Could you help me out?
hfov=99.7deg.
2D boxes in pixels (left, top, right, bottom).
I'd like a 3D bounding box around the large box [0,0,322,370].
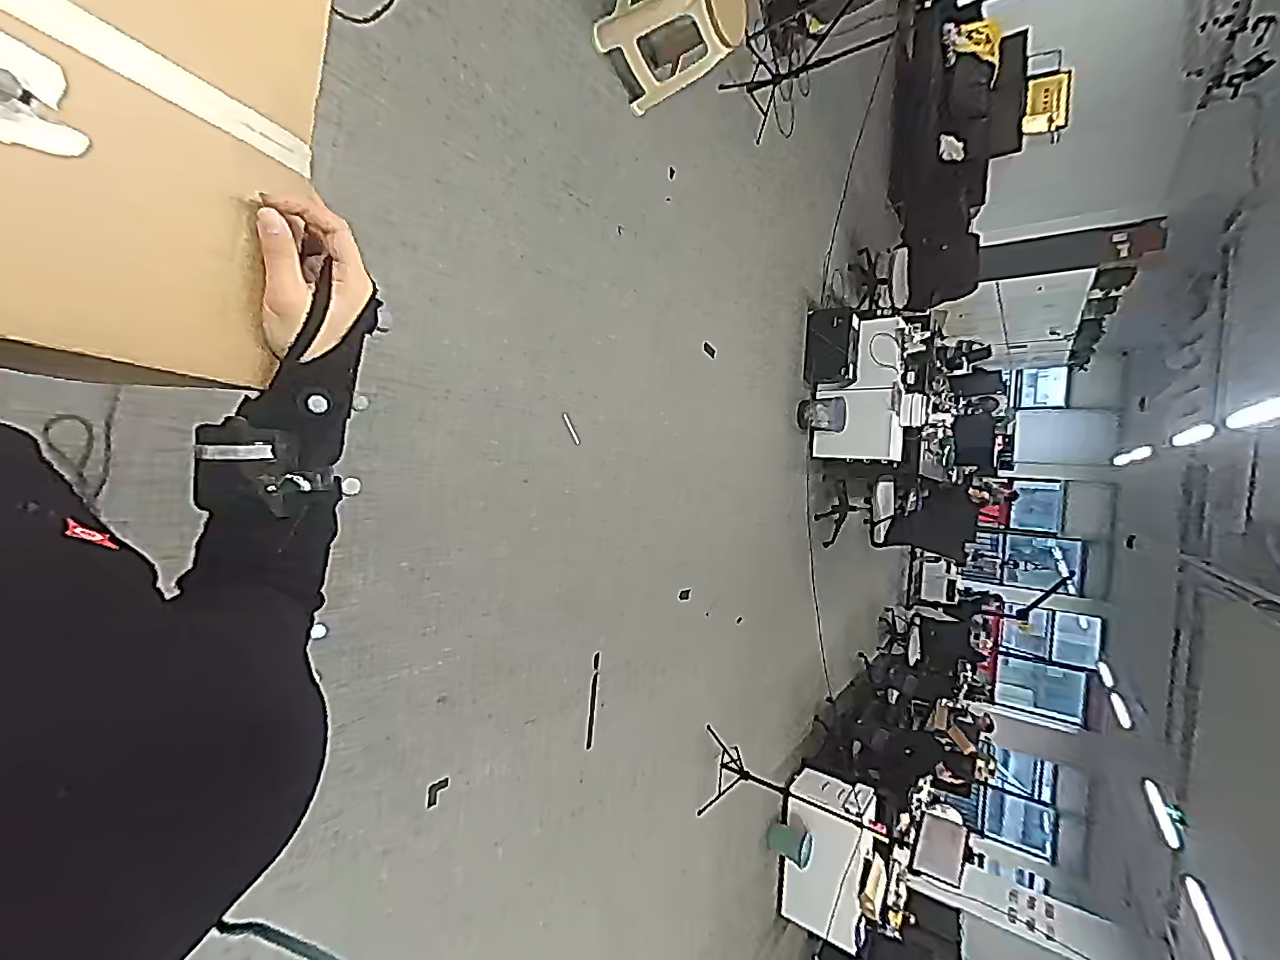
[{"bbox_3d":[-0.459,-0.252,0.270,0.408,0.320,0.320,9,89,-62],"label":"large box"}]
